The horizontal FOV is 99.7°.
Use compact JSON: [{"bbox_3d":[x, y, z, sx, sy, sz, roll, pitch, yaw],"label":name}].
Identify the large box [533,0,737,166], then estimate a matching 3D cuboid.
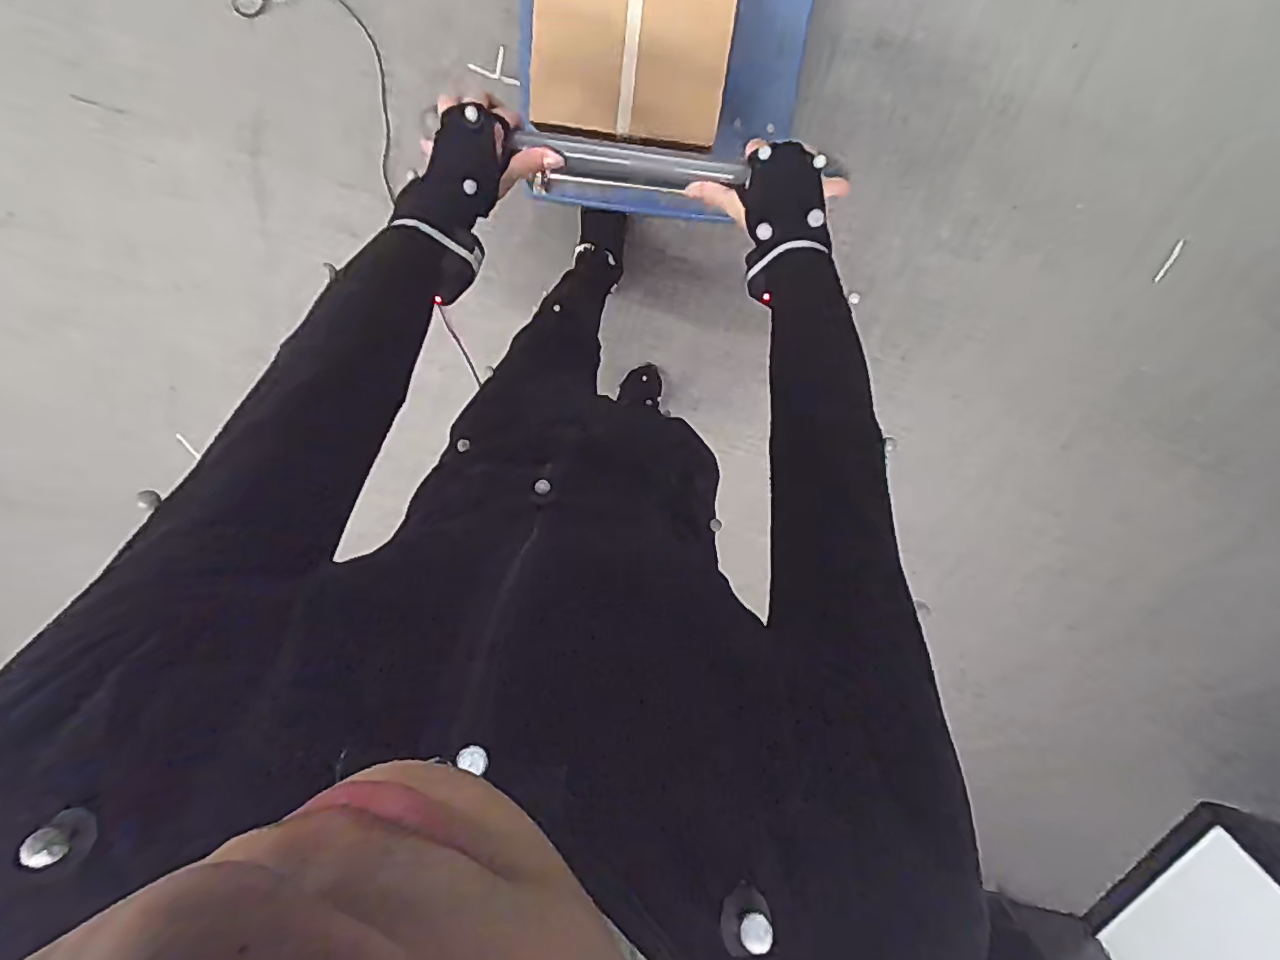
[{"bbox_3d":[0.002,-0.822,0.963,0.320,0.320,0.408,7,112,-2],"label":"large box"}]
